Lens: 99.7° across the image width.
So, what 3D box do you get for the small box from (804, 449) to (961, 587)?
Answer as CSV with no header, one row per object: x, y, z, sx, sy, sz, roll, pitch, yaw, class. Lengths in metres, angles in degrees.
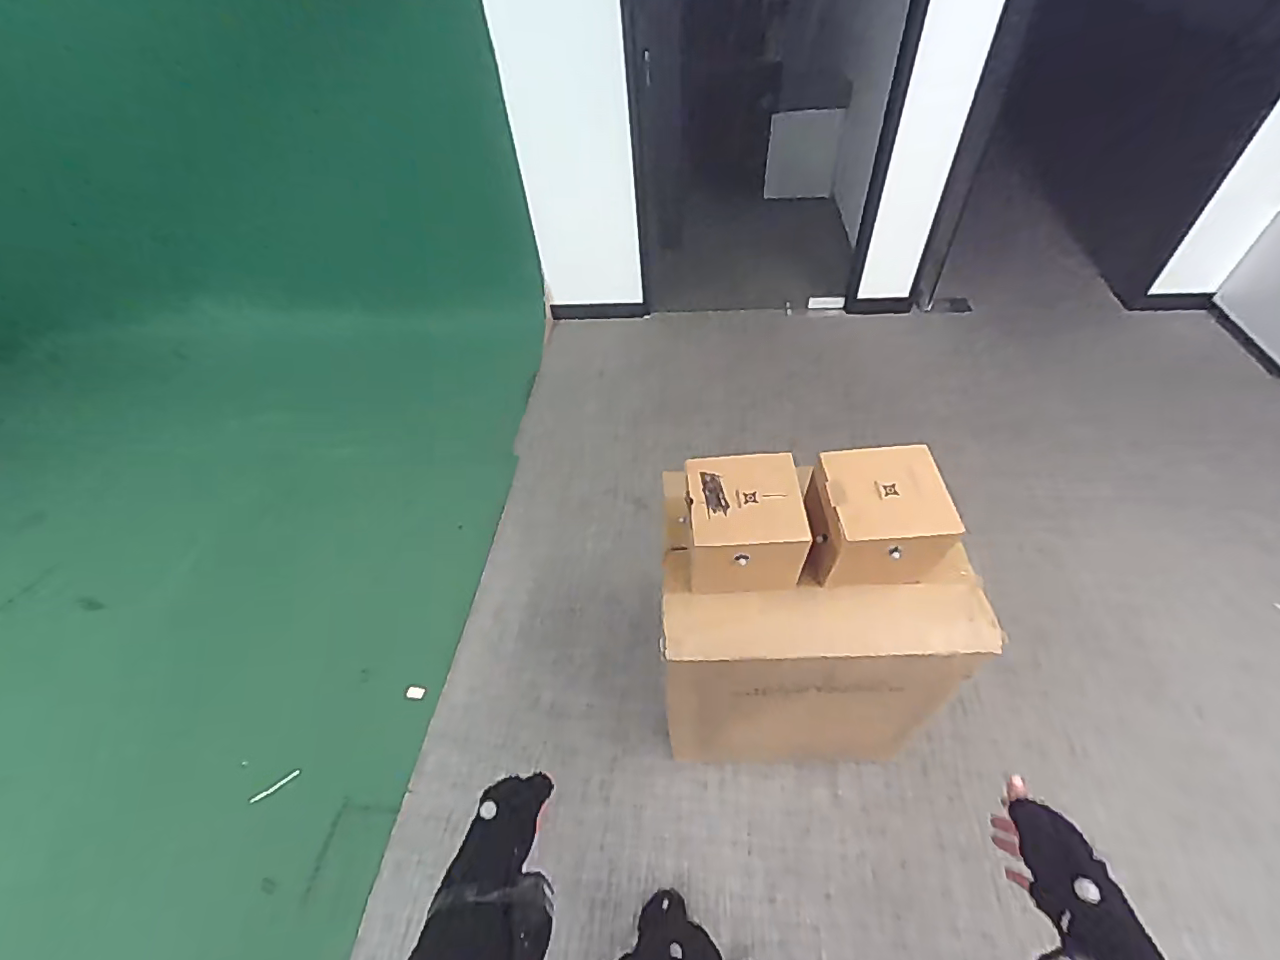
0.381,0.068,0.894,0.179,0.176,0.168,-4,55,0,small box

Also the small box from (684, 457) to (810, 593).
0.168,0.080,0.902,0.179,0.176,0.168,-3,54,2,small box
